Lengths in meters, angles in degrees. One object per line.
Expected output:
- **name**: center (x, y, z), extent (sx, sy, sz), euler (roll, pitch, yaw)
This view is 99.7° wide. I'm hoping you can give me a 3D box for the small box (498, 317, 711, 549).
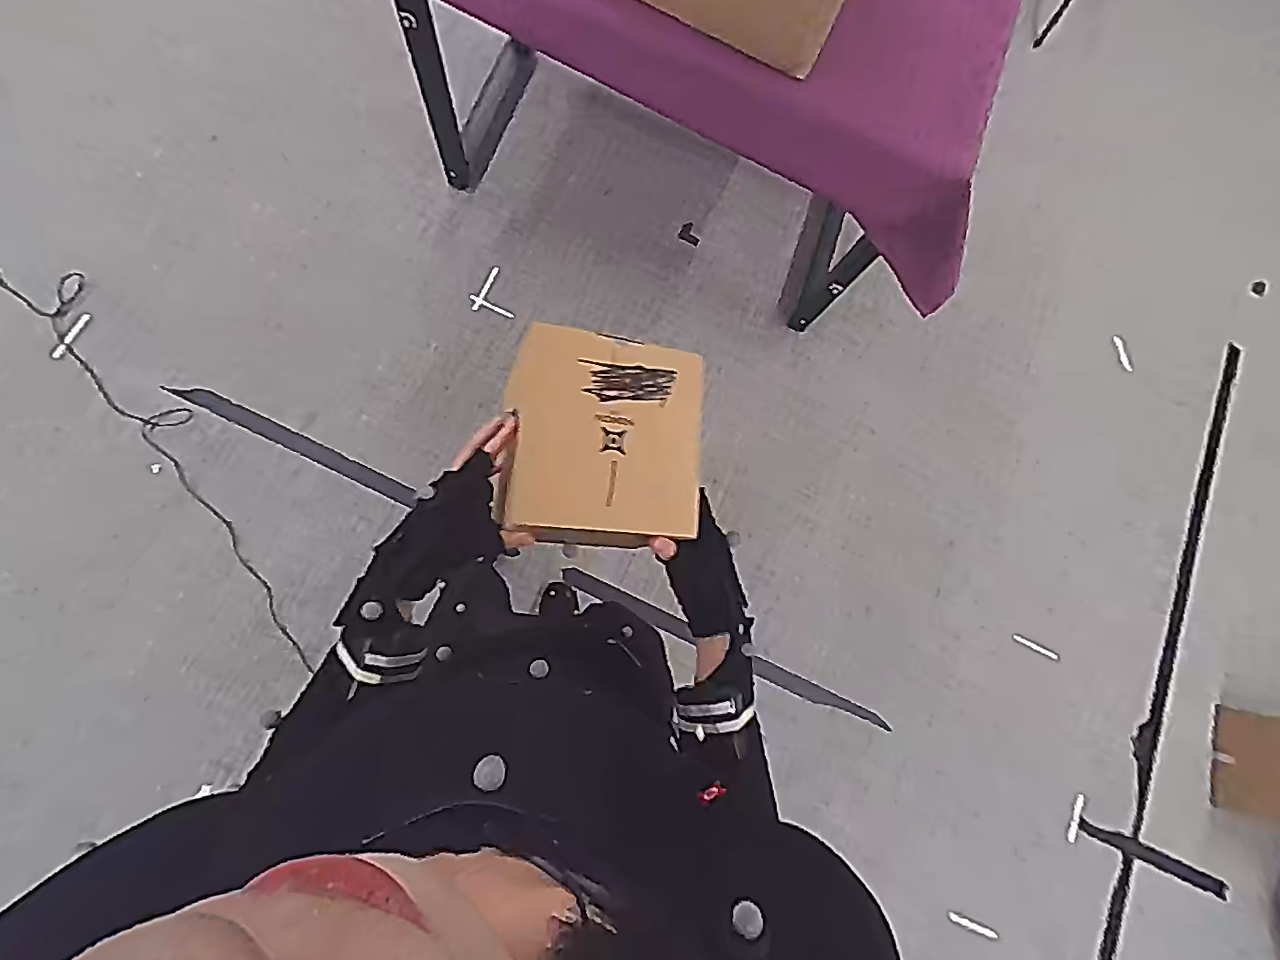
- **small box**: center (-0.042, -0.030, 0.537), extent (0.168, 0.176, 0.179), euler (7, 78, -20)
